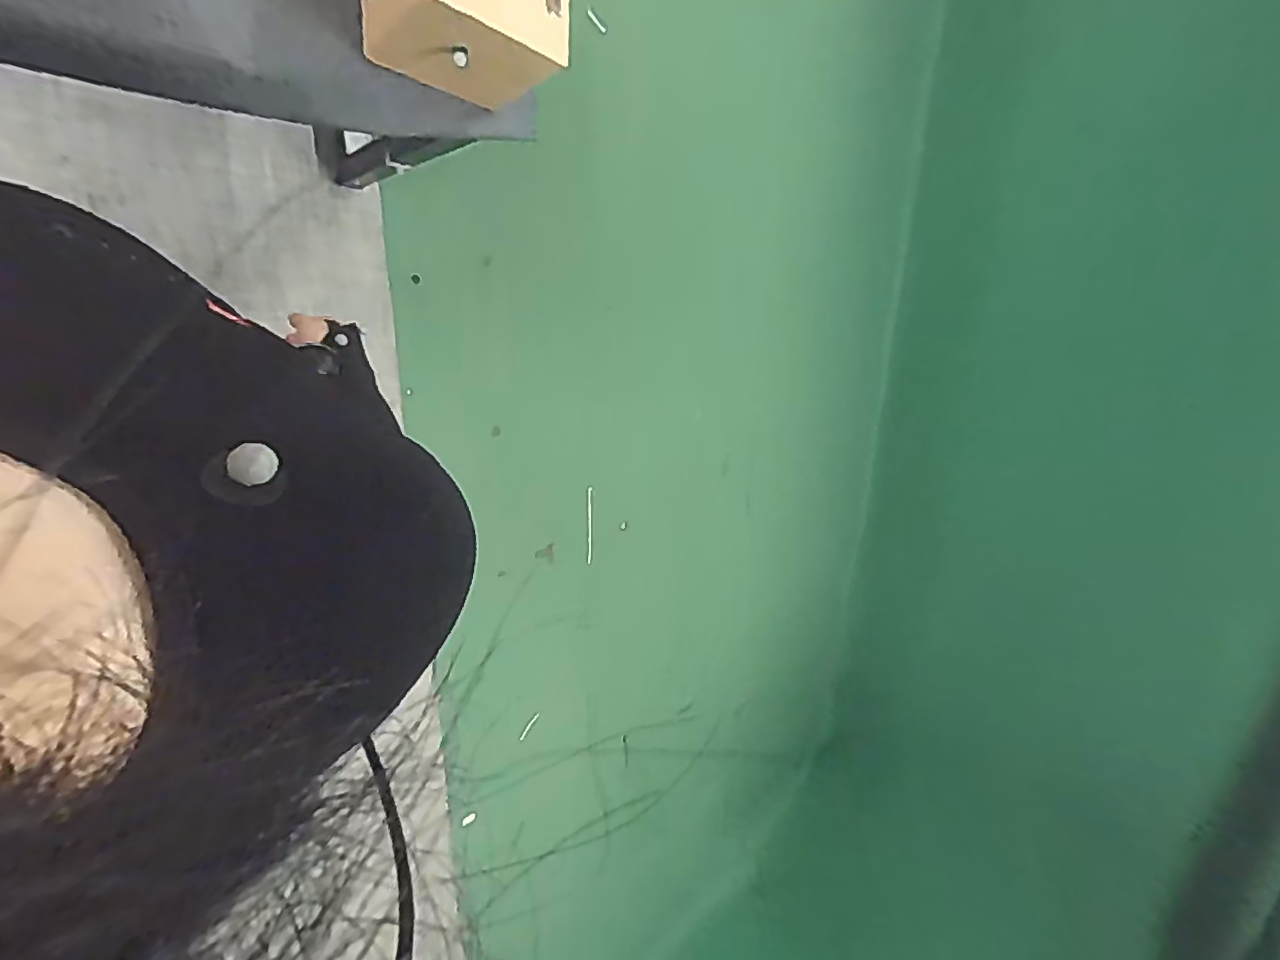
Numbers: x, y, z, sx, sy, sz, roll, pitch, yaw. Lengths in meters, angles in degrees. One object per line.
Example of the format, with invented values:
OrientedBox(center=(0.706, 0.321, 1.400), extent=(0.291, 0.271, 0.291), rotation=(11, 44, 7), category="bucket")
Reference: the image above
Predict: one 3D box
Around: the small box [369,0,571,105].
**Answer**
OrientedBox(center=(-0.197, -0.566, 0.615), extent=(0.179, 0.176, 0.168), rotation=(-8, 106, -43), category="small box")
